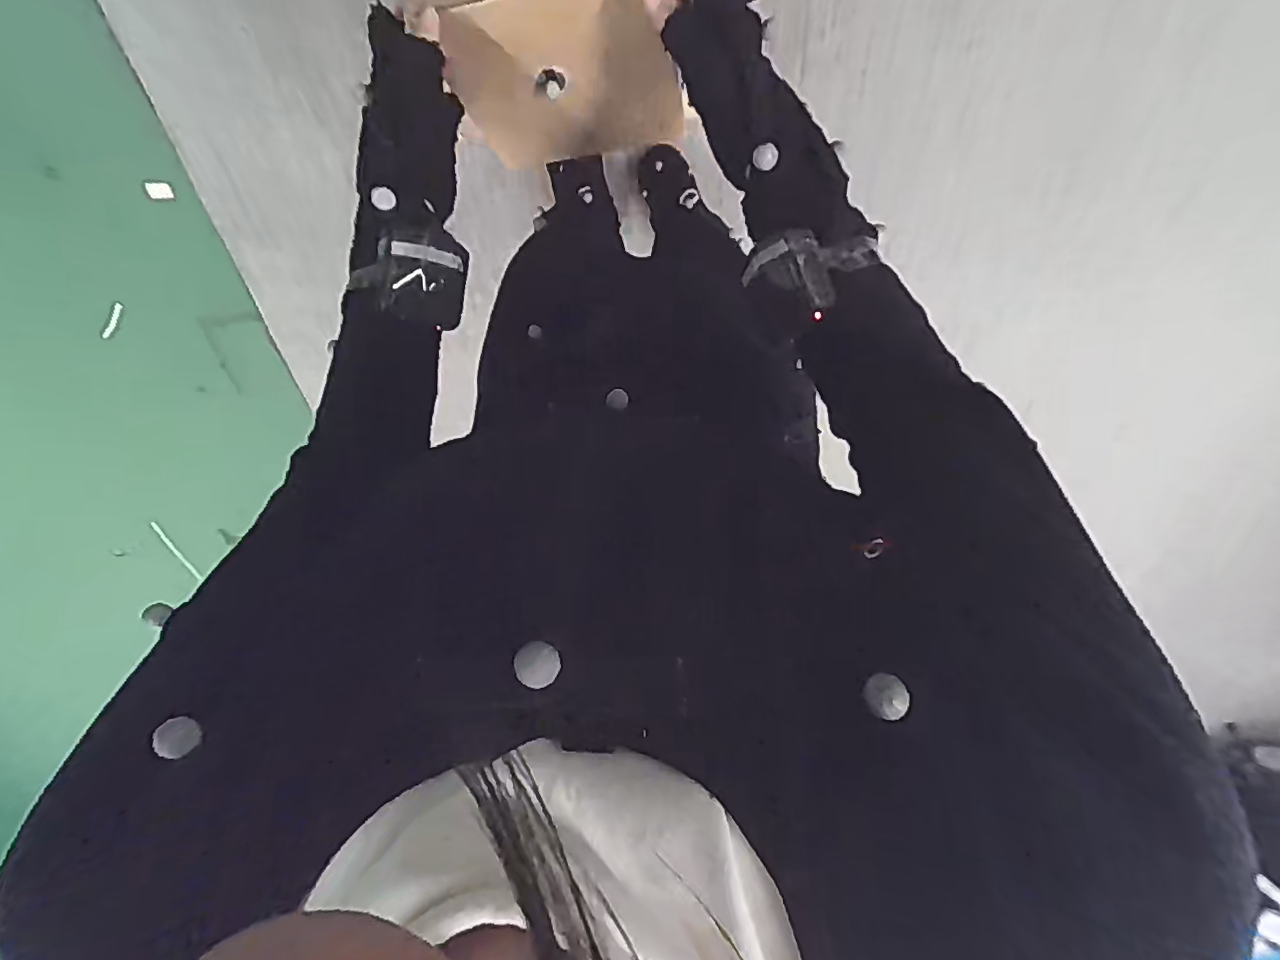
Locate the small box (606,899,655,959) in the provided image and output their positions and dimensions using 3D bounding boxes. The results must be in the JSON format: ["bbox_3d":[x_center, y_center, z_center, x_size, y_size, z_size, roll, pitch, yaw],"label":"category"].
[{"bbox_3d":[-0.038,1.708,2.045,0.168,0.176,0.179,-6,130,2],"label":"small box"}]

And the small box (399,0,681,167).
[{"bbox_3d":[-0.064,-0.384,0.425,0.179,0.176,0.168,-4,87,12],"label":"small box"}]
